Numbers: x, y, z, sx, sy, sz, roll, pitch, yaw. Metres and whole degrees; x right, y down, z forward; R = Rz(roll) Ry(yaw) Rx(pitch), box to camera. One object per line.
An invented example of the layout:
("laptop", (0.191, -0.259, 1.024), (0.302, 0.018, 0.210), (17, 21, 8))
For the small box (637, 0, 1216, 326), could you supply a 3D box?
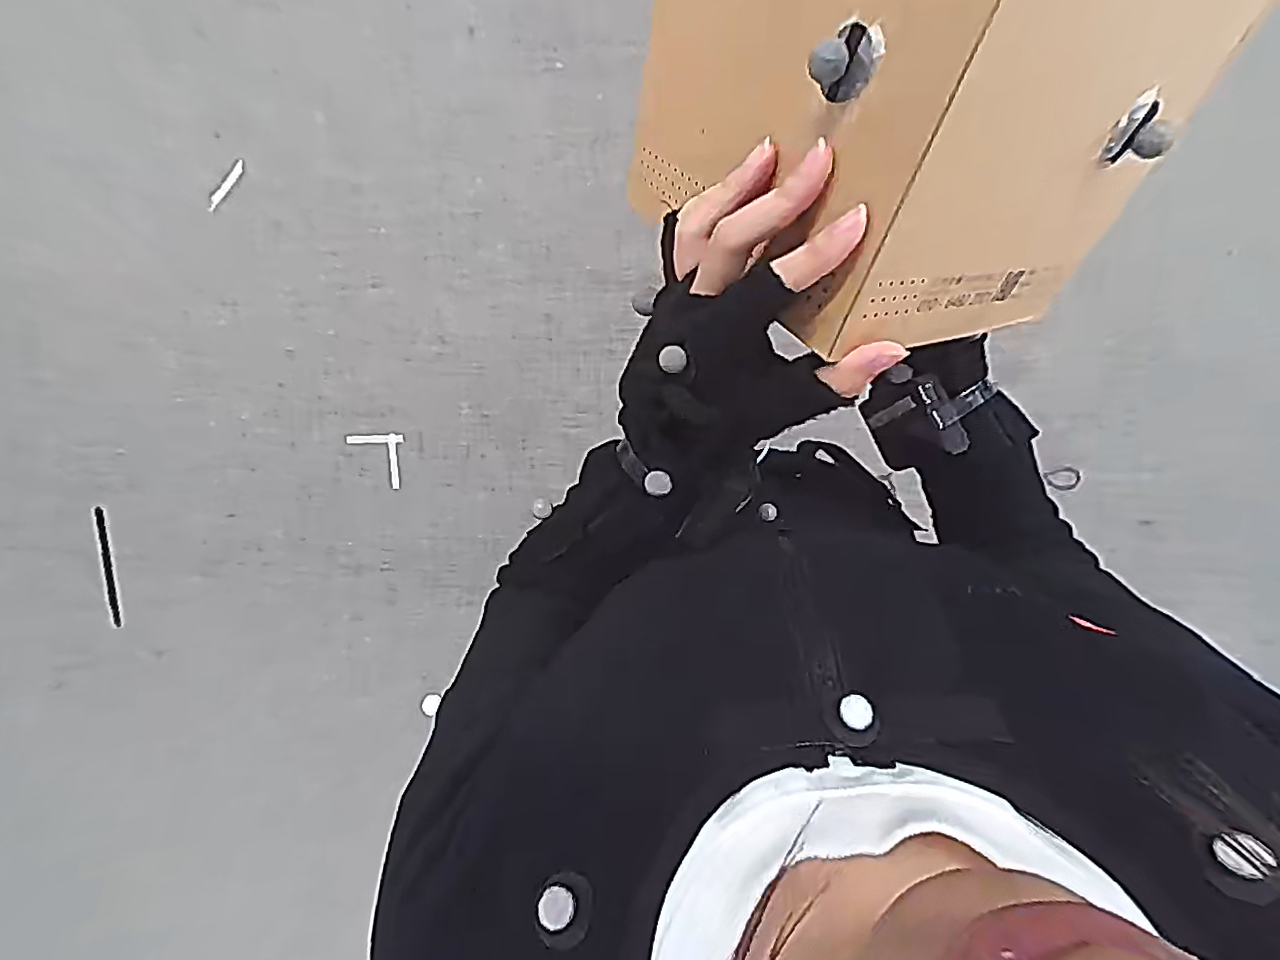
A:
("small box", (0.118, -0.188, 0.268), (0.179, 0.168, 0.176), (53, 145, 35))
